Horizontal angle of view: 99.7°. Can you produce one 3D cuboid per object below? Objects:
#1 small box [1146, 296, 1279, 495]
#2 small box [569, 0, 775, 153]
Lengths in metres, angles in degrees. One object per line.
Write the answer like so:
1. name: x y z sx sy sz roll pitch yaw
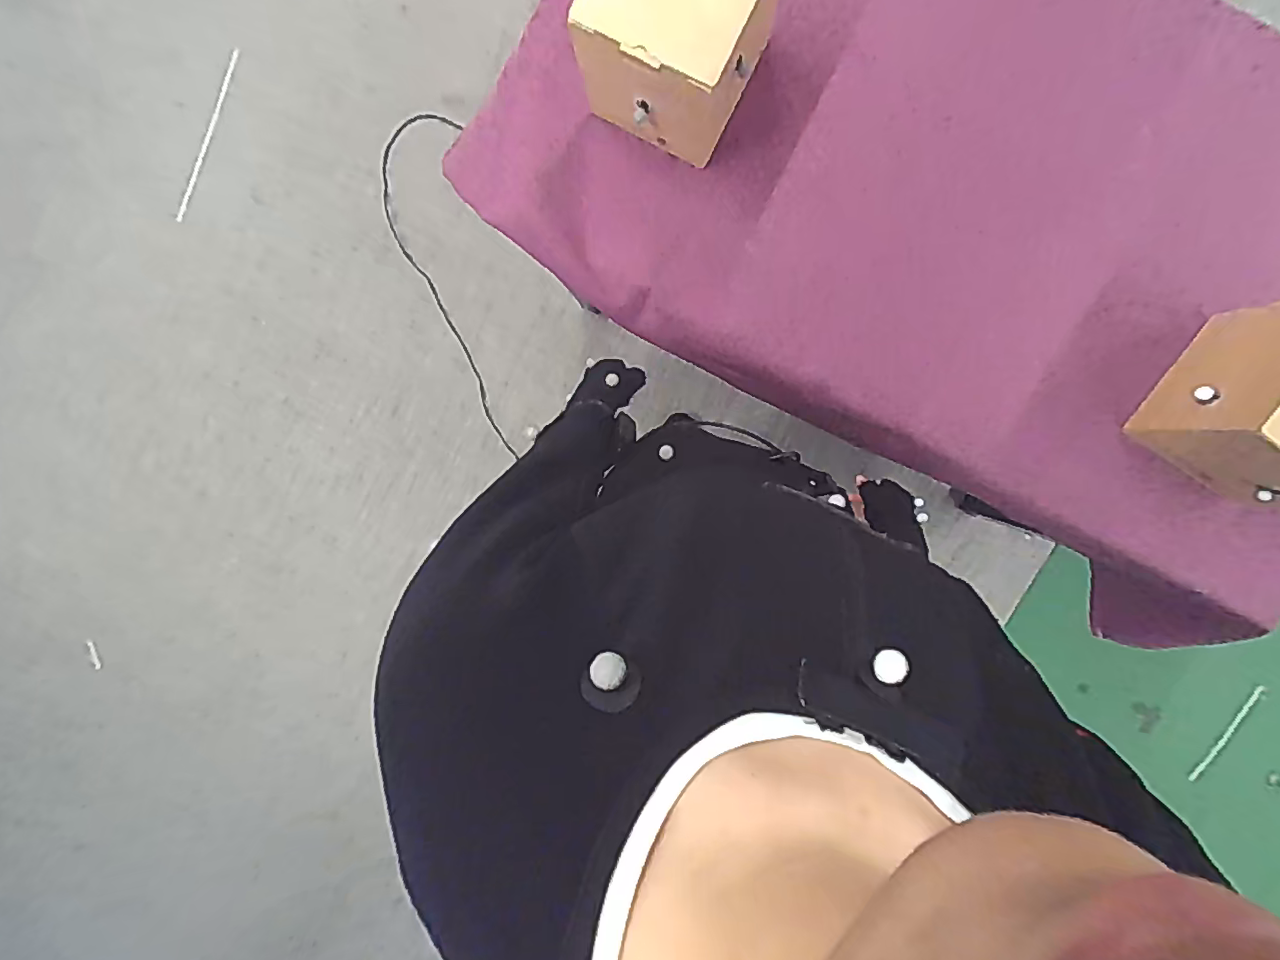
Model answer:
1. small box: 0.726 -0.089 0.592 0.168 0.176 0.179 34 98 0
2. small box: 0.046 -0.507 0.597 0.168 0.176 0.179 27 98 0
